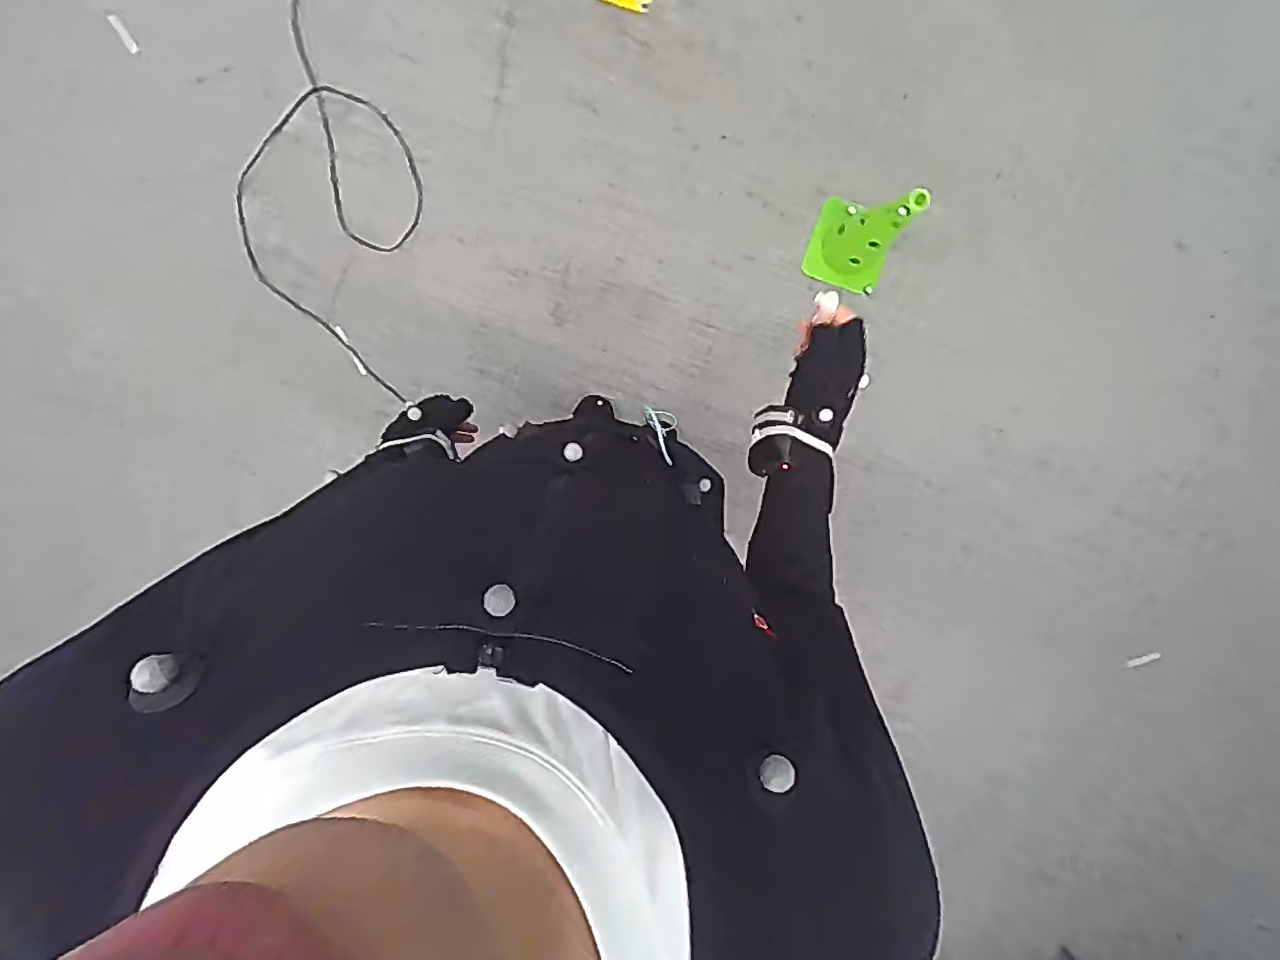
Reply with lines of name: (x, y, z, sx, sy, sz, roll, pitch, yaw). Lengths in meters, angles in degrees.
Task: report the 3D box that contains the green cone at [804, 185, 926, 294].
green cone: (0.539, -0.575, 1.216, 0.202, 0.368, 0.200, 18, 98, -2)
